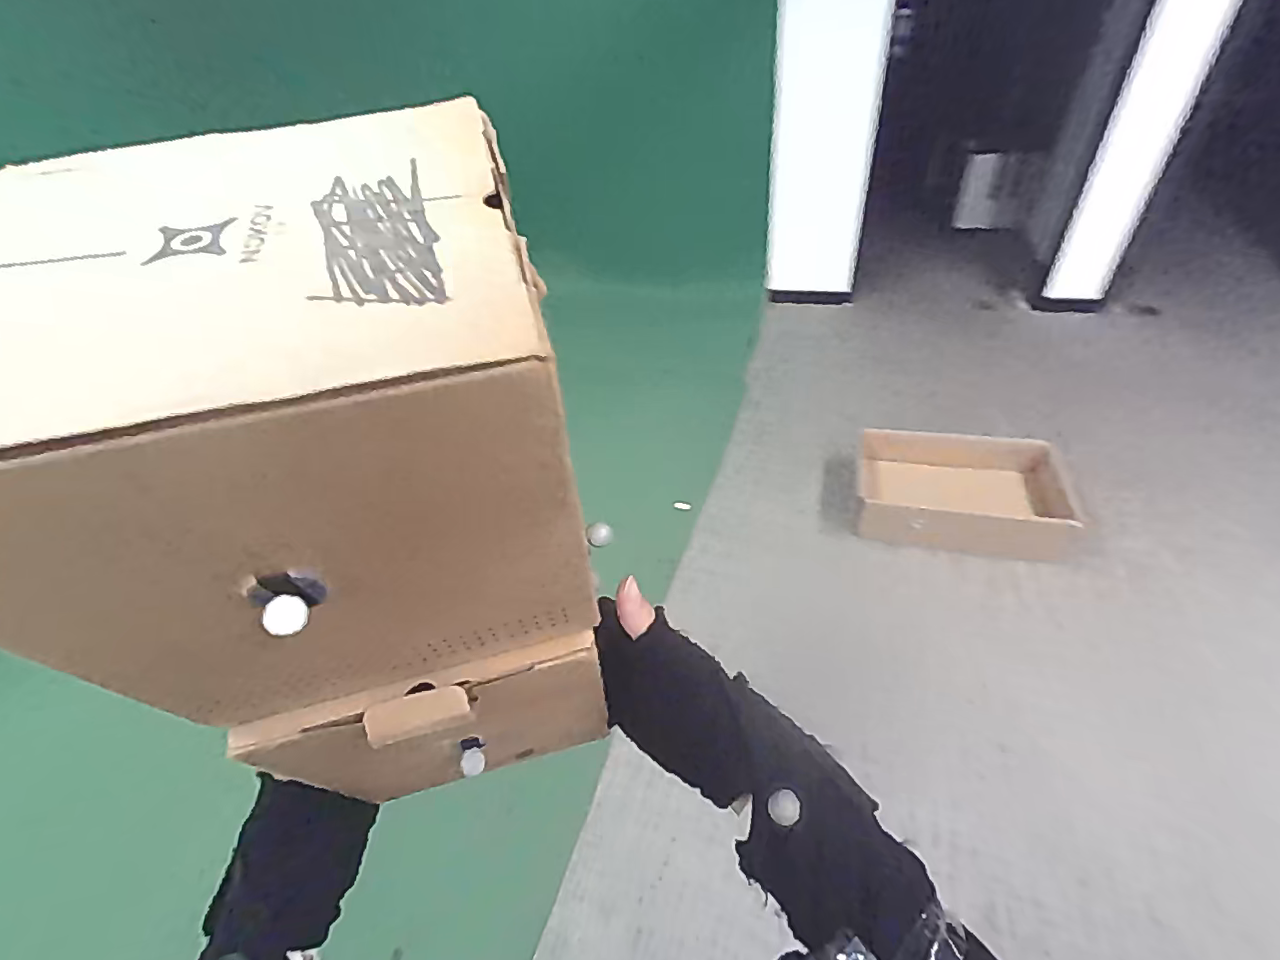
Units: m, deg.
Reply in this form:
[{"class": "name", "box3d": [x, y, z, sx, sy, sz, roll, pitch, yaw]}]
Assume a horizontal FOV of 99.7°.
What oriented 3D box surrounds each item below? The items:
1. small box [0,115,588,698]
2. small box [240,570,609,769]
[{"class": "small box", "box3d": [-0.121, -0.025, 0.236, 0.179, 0.176, 0.168, -12, 54, -7]}, {"class": "small box", "box3d": [-0.118, 0.079, 0.364, 0.168, 0.176, 0.179, -11, 54, -7]}]
